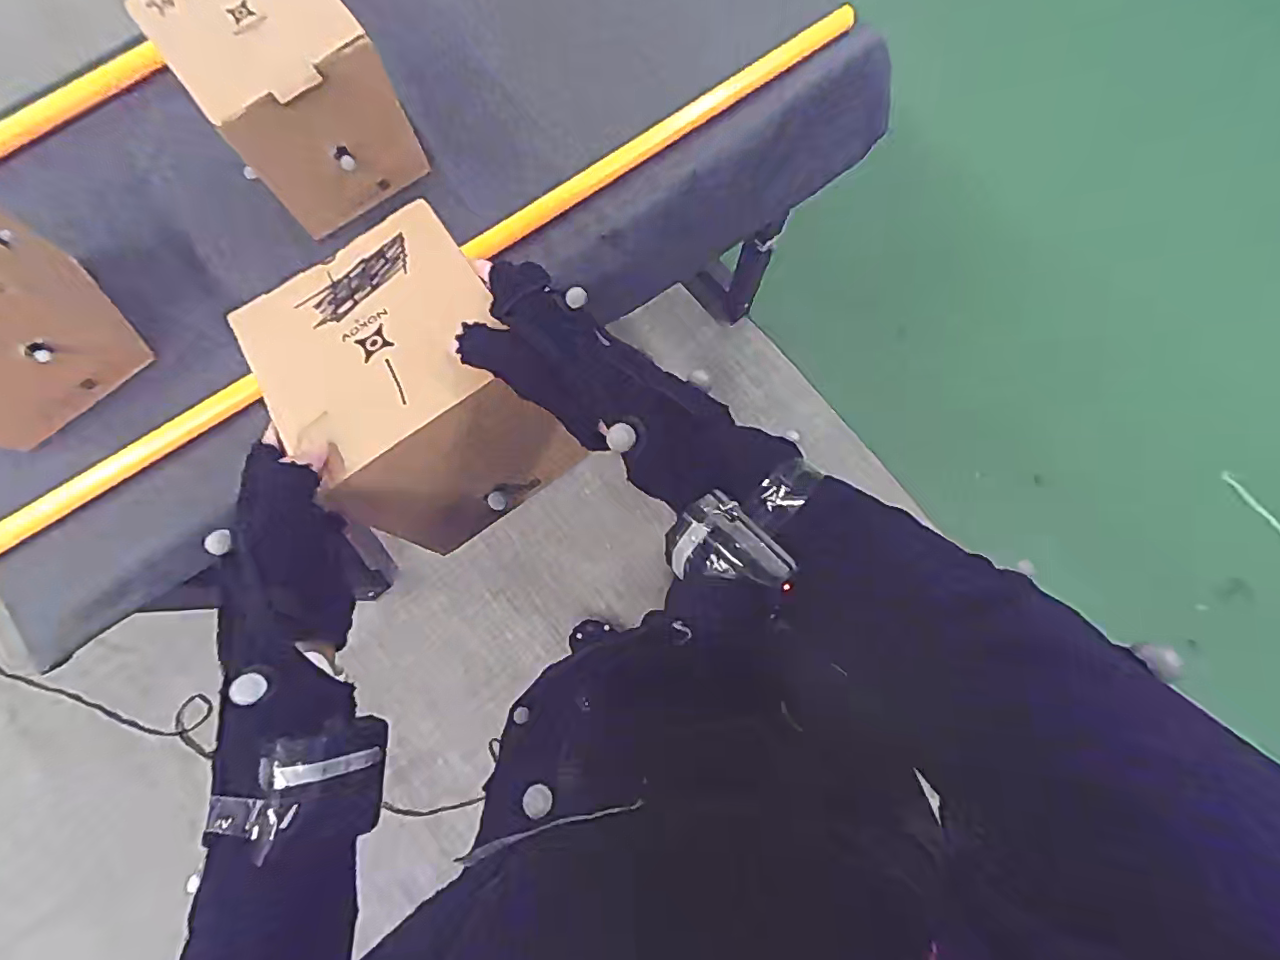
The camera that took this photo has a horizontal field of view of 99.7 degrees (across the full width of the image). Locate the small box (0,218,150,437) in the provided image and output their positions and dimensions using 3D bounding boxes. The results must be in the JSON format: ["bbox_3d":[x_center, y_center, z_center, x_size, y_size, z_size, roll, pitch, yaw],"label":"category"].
[{"bbox_3d":[-0.661,-0.162,0.536,0.168,0.176,0.179,-42,80,-10],"label":"small box"}]

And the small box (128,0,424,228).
[{"bbox_3d":[-0.374,-0.413,0.592,0.168,0.176,0.179,-41,81,-7],"label":"small box"}]

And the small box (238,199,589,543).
[{"bbox_3d":[-0.166,-0.073,0.439,0.168,0.176,0.179,-35,69,-3],"label":"small box"}]
